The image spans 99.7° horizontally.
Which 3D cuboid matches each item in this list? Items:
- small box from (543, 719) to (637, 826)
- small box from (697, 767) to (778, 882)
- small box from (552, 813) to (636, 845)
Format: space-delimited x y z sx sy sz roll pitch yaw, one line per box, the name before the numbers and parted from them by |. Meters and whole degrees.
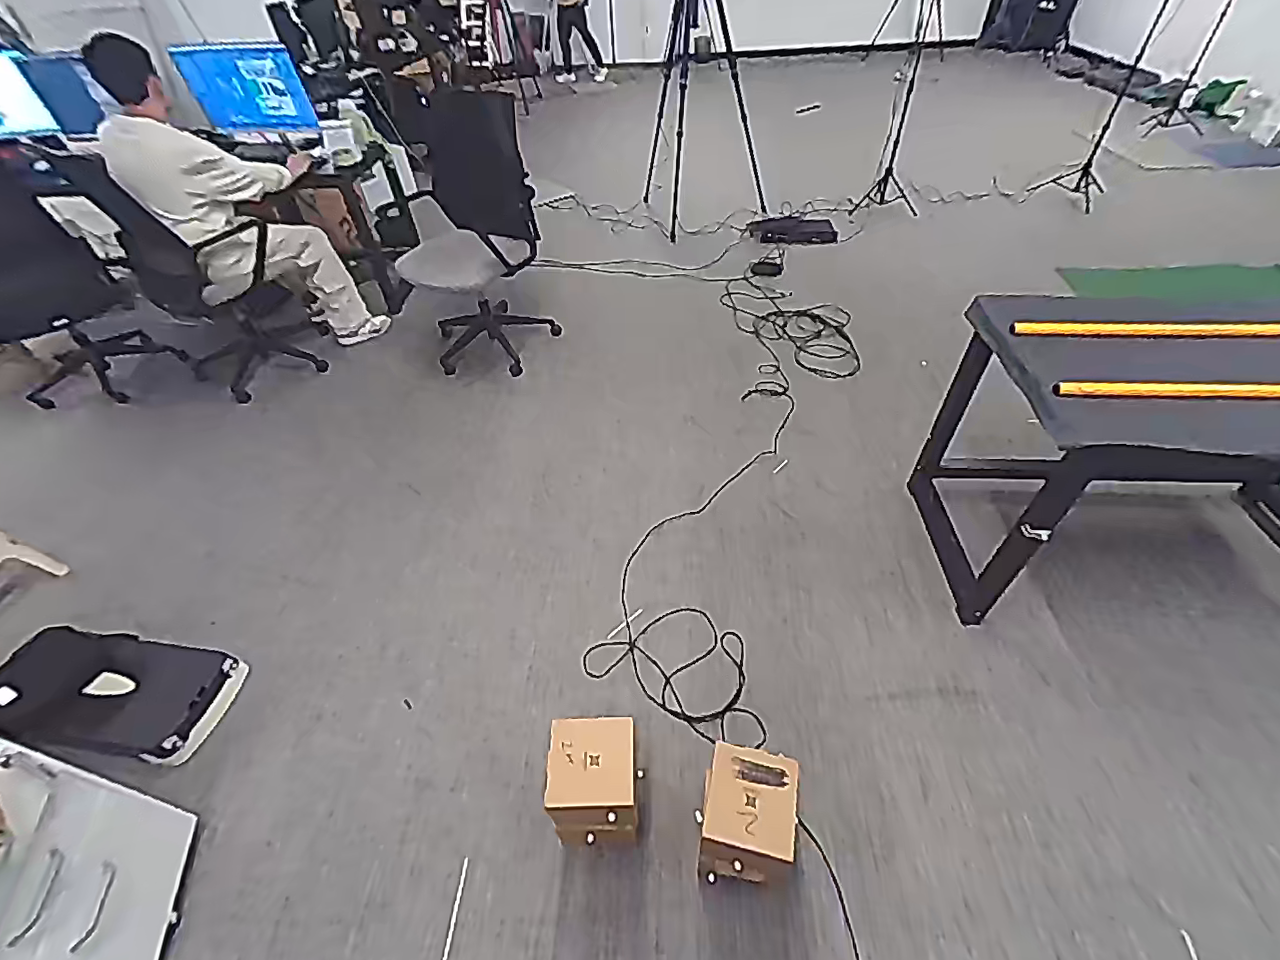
small box | -0.096 0.621 1.146 0.179 0.176 0.168 -3 46 2
small box | 0.216 0.773 1.208 0.168 0.176 0.179 5 46 8
small box | -0.096 0.738 1.262 0.179 0.176 0.168 -2 47 3
